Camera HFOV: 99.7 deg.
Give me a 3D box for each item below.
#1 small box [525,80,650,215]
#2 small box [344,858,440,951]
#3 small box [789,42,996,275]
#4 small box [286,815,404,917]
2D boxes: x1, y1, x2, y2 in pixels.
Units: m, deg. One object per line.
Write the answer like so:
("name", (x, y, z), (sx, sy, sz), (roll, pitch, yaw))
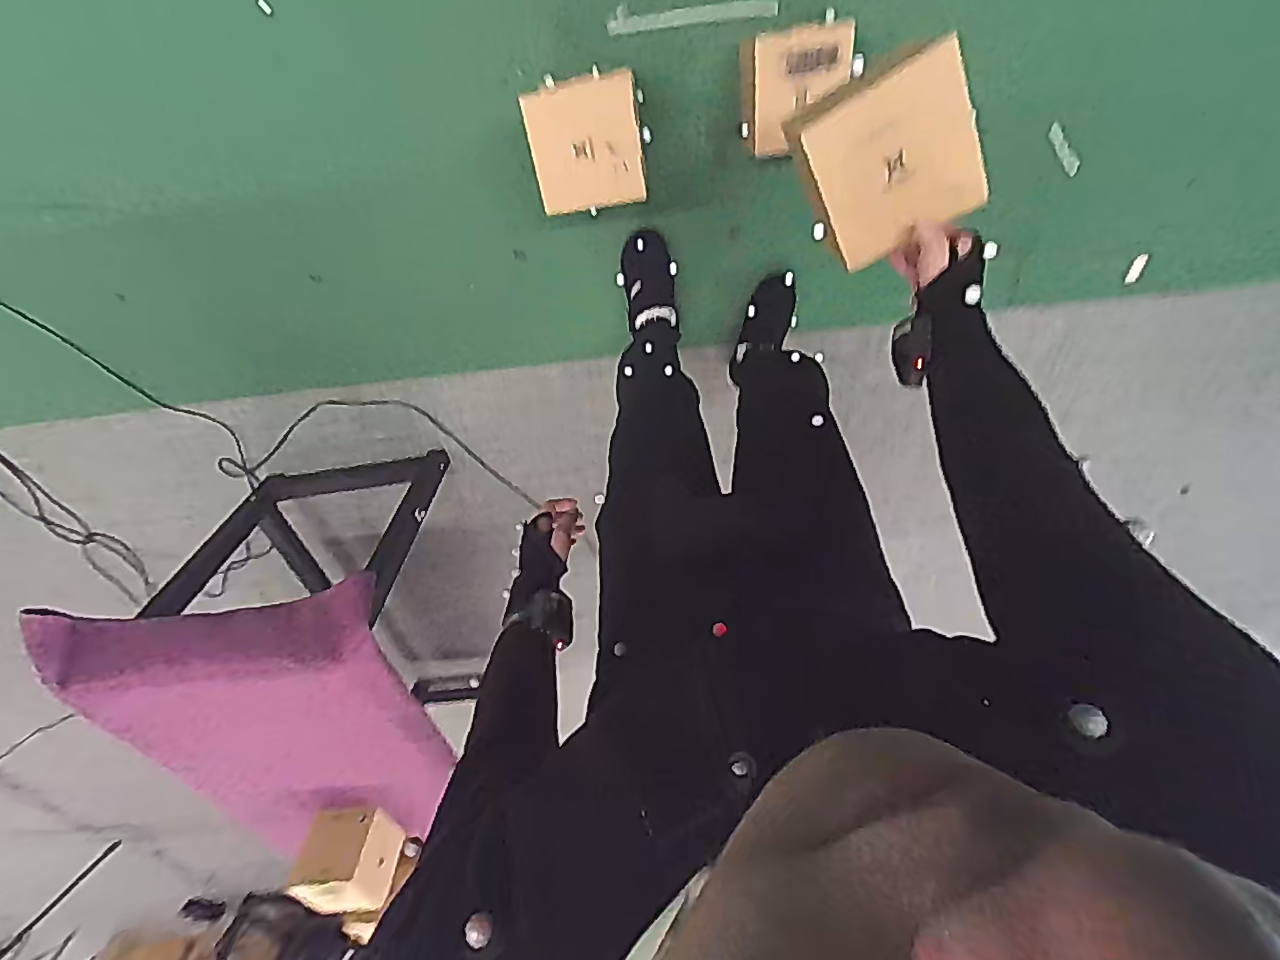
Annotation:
("small box", (-0.078, -0.565, 0.922), (0.179, 0.176, 0.168), (-7, 126, 5))
("small box", (-0.681, 1.188, 1.517), (0.179, 0.176, 0.168), (-8, 125, 5))
("small box", (0.298, -0.391, 0.663), (0.168, 0.176, 0.179), (-24, 121, 21))
("small box", (-0.723, 0.955, 1.347), (0.168, 0.176, 0.179), (-7, 127, 6))
